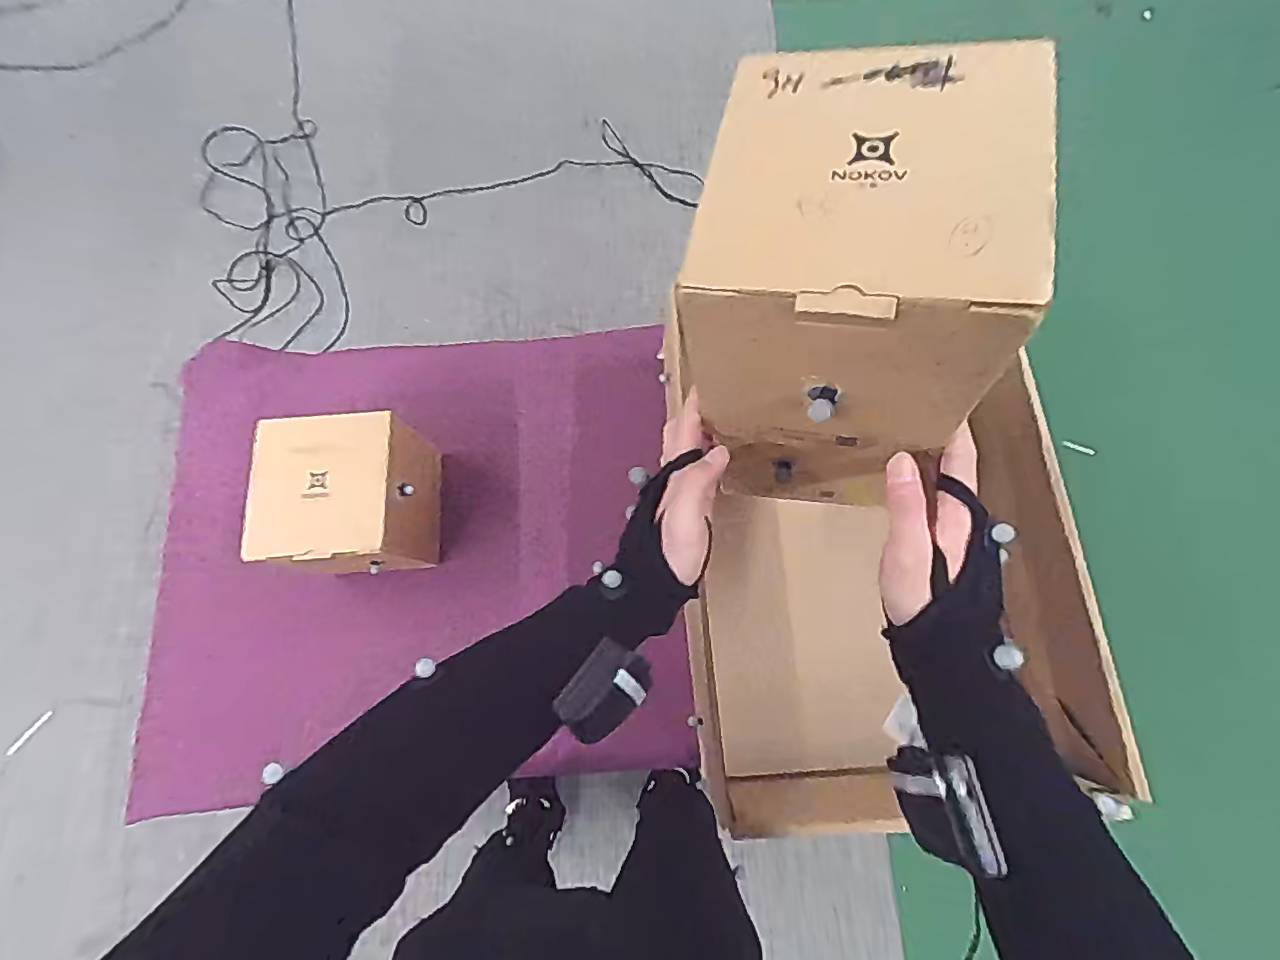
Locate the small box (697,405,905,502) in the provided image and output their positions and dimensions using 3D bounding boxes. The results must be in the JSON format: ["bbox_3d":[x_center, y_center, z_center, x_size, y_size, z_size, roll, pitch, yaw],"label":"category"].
[{"bbox_3d":[0.155,-0.088,0.498,0.168,0.176,0.179,6,72,15],"label":"small box"}]

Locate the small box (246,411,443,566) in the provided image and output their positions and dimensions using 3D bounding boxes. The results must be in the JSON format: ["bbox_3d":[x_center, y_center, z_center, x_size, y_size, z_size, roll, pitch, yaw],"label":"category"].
[{"bbox_3d":[-0.376,0.022,0.720,0.168,0.176,0.179,-3,75,1],"label":"small box"}]

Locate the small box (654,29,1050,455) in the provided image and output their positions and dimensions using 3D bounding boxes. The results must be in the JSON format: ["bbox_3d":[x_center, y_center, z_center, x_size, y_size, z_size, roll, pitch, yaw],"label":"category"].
[{"bbox_3d":[0.121,-0.130,0.342,0.168,0.176,0.179,11,74,16],"label":"small box"}]
